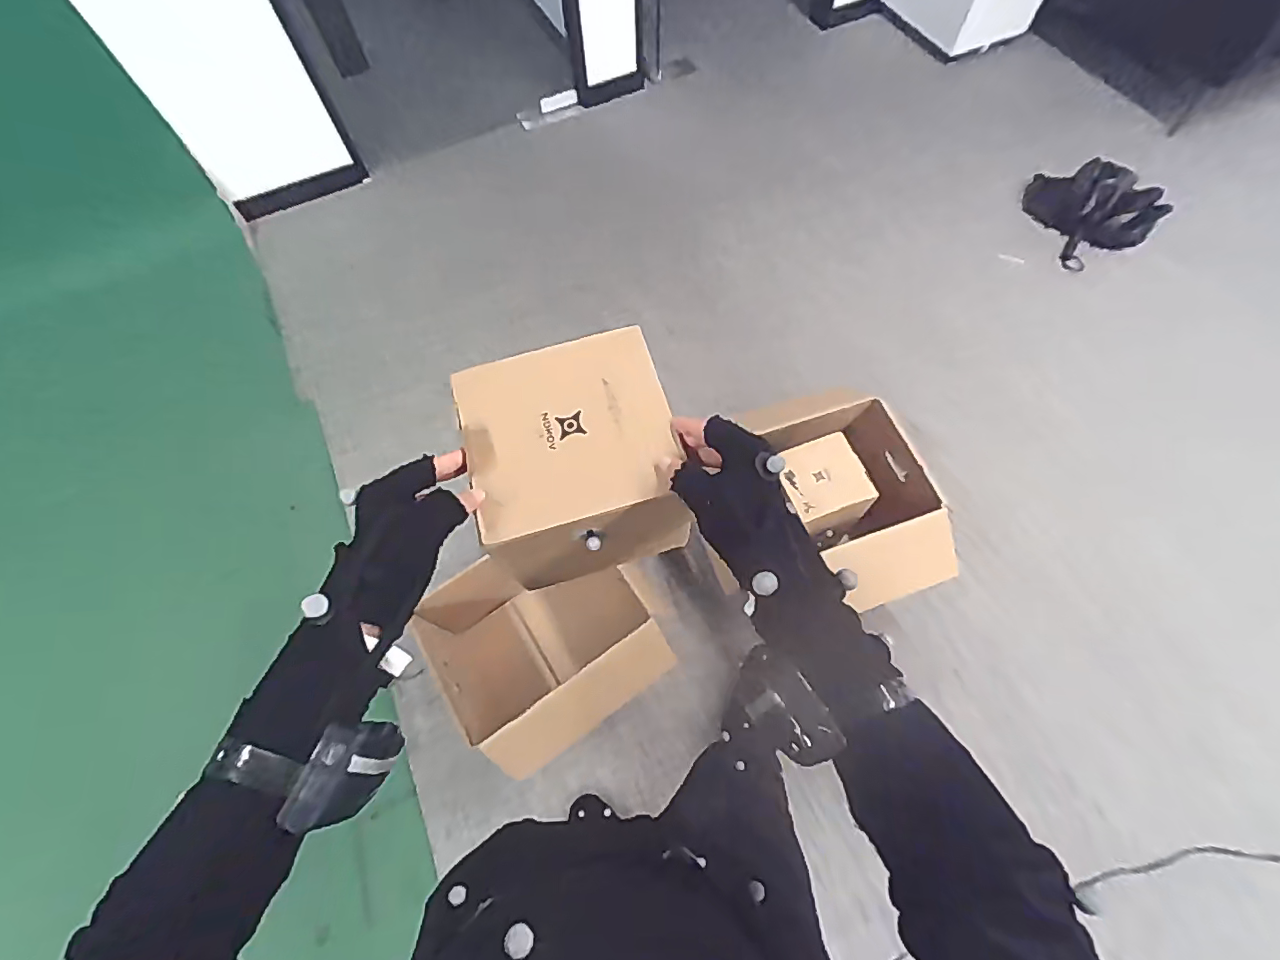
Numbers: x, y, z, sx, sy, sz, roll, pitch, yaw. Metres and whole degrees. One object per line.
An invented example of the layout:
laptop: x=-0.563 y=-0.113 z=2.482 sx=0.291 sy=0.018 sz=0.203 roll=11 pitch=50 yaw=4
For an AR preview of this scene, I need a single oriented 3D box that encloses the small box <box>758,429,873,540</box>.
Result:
small box: x=0.386 y=0.015 z=1.223 sx=0.179 sy=0.176 sz=0.168 roll=-19 pitch=65 yaw=-5
